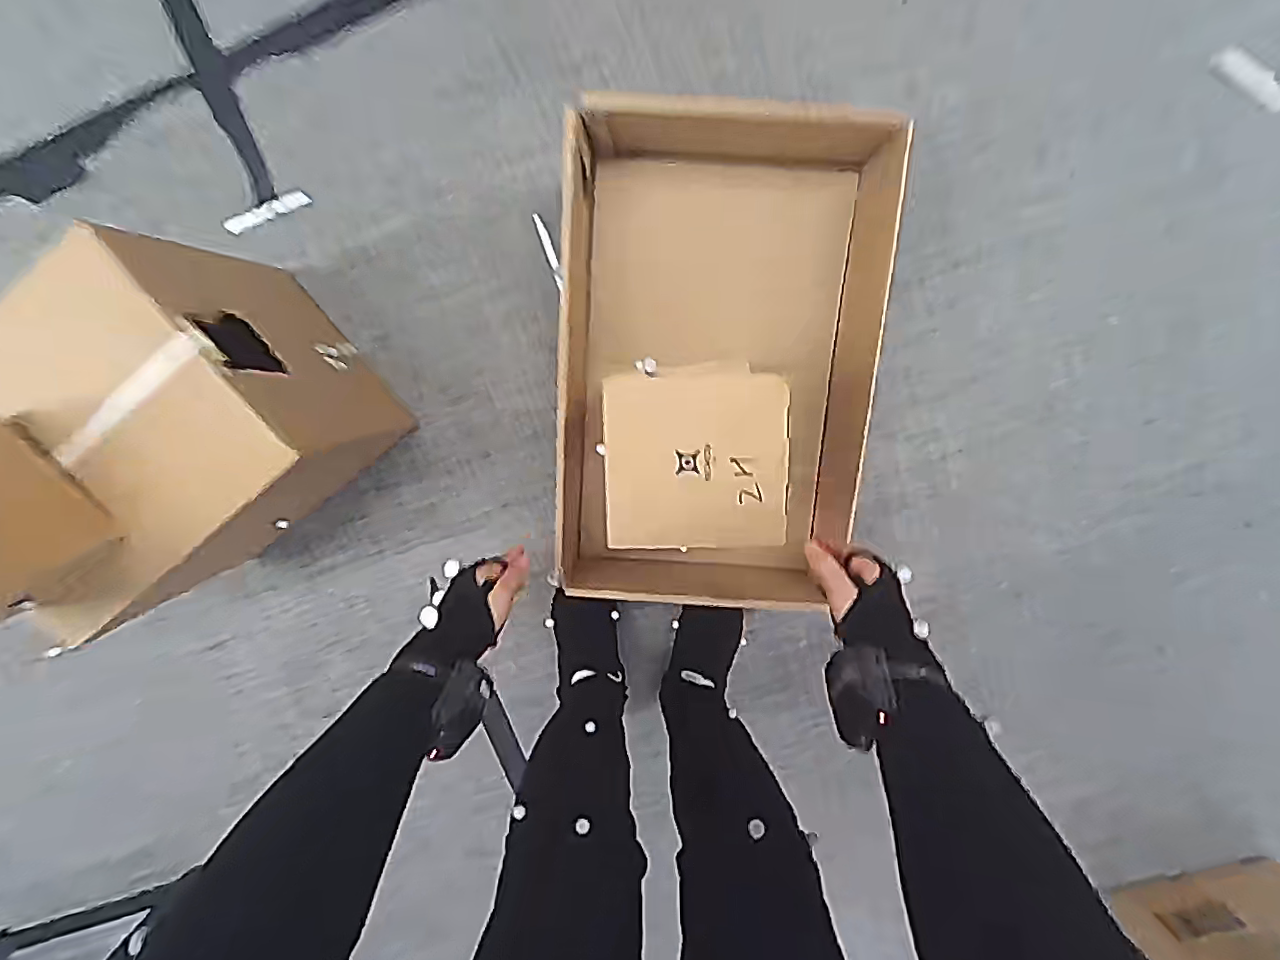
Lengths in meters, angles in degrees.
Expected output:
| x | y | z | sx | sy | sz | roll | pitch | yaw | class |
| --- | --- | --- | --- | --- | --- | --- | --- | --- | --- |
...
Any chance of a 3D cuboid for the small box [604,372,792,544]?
| x | y | z | sx | sy | sz | roll | pitch | yaw | class |
| --- | --- | --- | --- | --- | --- | --- | --- | --- | --- |
| 0.057 | -0.031 | 0.591 | 0.179 | 0.176 | 0.168 | -1 | 100 | 1 | small box |
